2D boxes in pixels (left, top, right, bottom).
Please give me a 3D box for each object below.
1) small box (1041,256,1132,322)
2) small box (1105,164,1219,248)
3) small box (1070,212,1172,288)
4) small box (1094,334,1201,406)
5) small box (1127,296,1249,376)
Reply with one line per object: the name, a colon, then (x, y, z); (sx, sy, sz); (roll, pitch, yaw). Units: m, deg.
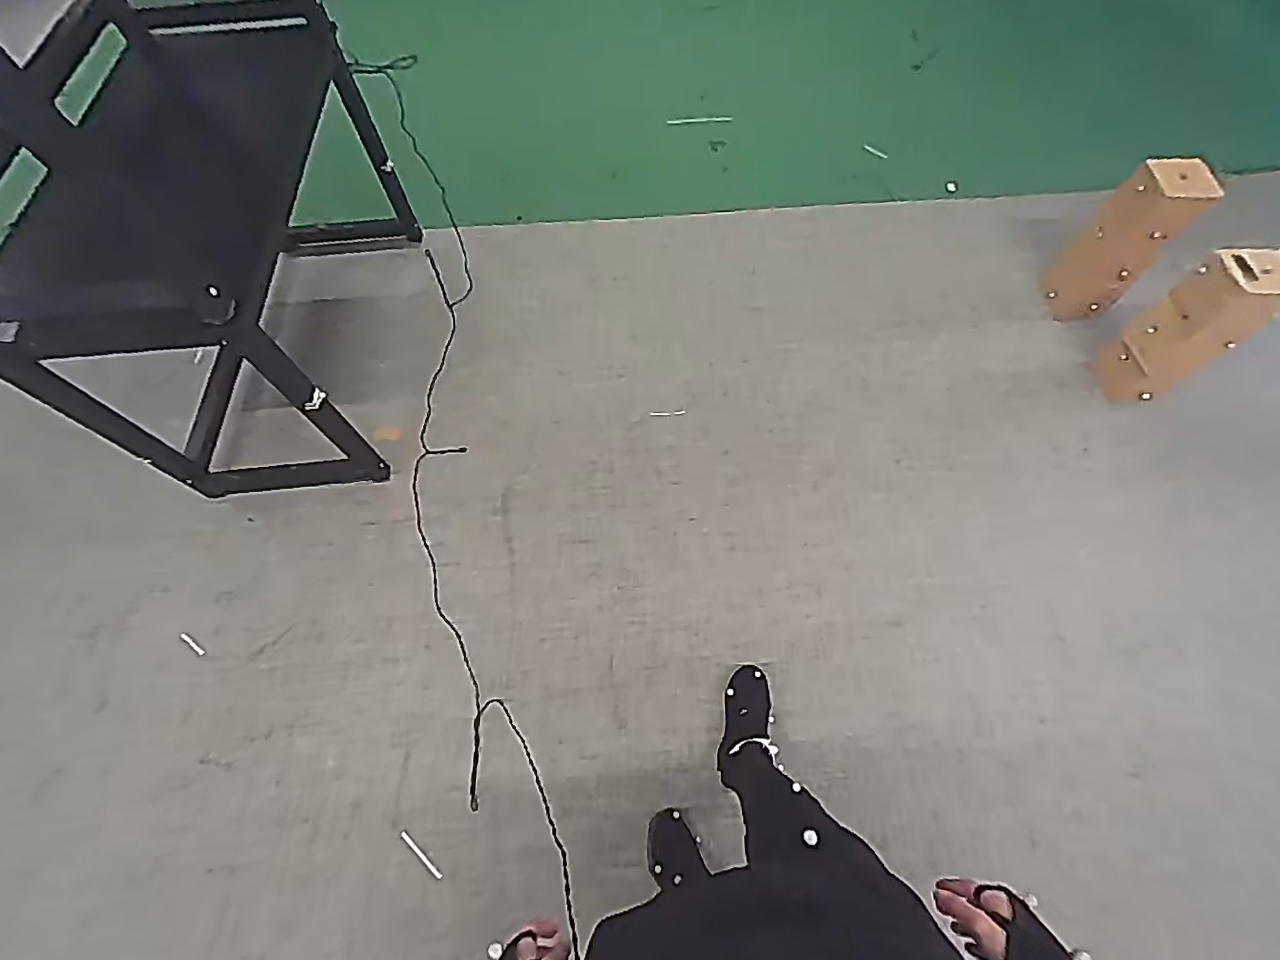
small box: (1.616, -0.694, 1.970); (0.168, 0.176, 0.179); (-1, 63, 1)
small box: (1.610, -0.853, 1.684); (0.168, 0.176, 0.179); (1, 63, 3)
small box: (1.613, -0.776, 1.827); (0.168, 0.176, 0.179); (-1, 63, 2)
small box: (1.673, -0.367, 1.798); (0.168, 0.176, 0.179); (-3, 63, 0)
small box: (1.654, -0.435, 1.652); (0.179, 0.176, 0.168); (-6, 63, -2)
